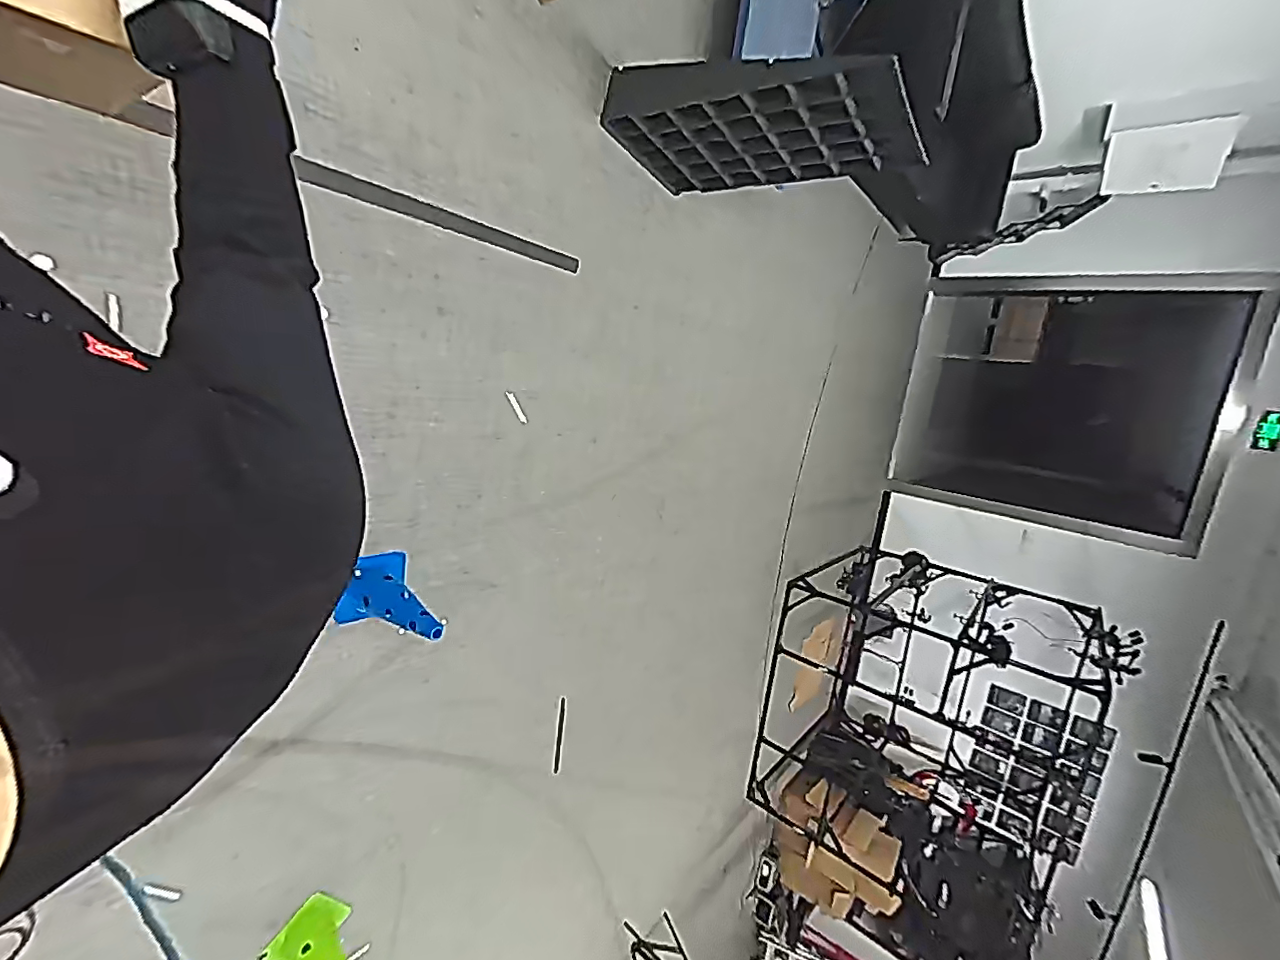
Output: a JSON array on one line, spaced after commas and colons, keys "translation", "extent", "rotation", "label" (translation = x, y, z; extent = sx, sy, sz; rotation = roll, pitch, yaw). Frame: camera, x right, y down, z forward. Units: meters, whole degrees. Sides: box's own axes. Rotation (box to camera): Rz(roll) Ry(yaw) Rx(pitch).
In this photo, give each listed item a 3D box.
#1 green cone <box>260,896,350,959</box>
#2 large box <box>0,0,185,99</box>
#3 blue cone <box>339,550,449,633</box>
[{"translation": [-0.900, 1.449, 1.577], "extent": [0.202, 0.368, 0.200], "rotation": [-49, 137, -32], "label": "green cone"}, {"translation": [-0.549, -0.474, 0.288], "extent": [0.408, 0.320, 0.320], "rotation": [-10, 115, -51], "label": "large box"}, {"translation": [-0.664, 0.344, 1.509], "extent": [0.192, 0.380, 0.193], "rotation": [0, 103, -53], "label": "blue cone"}]
